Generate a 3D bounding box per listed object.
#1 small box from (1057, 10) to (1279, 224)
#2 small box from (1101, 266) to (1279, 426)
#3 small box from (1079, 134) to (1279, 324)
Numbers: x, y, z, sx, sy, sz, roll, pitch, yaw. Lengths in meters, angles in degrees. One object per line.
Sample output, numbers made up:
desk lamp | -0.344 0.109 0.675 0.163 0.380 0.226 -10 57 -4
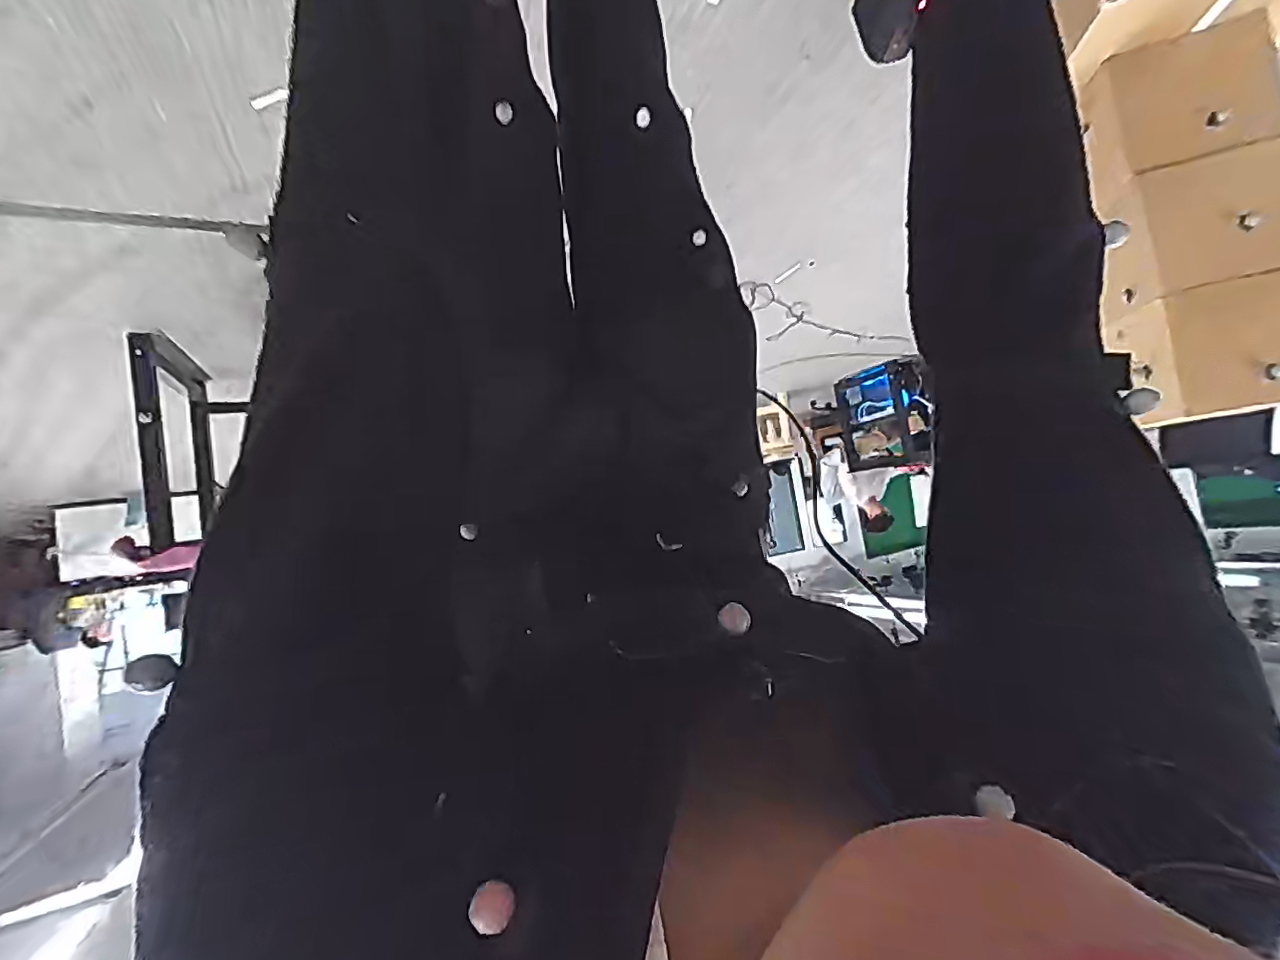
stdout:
small box | 0.741 -0.505 0.769 0.179 0.176 0.168 -9 176 15
small box | 0.795 -0.182 0.753 0.179 0.176 0.168 -10 176 15
small box | 0.770 -0.343 0.758 0.179 0.176 0.168 -11 176 15
